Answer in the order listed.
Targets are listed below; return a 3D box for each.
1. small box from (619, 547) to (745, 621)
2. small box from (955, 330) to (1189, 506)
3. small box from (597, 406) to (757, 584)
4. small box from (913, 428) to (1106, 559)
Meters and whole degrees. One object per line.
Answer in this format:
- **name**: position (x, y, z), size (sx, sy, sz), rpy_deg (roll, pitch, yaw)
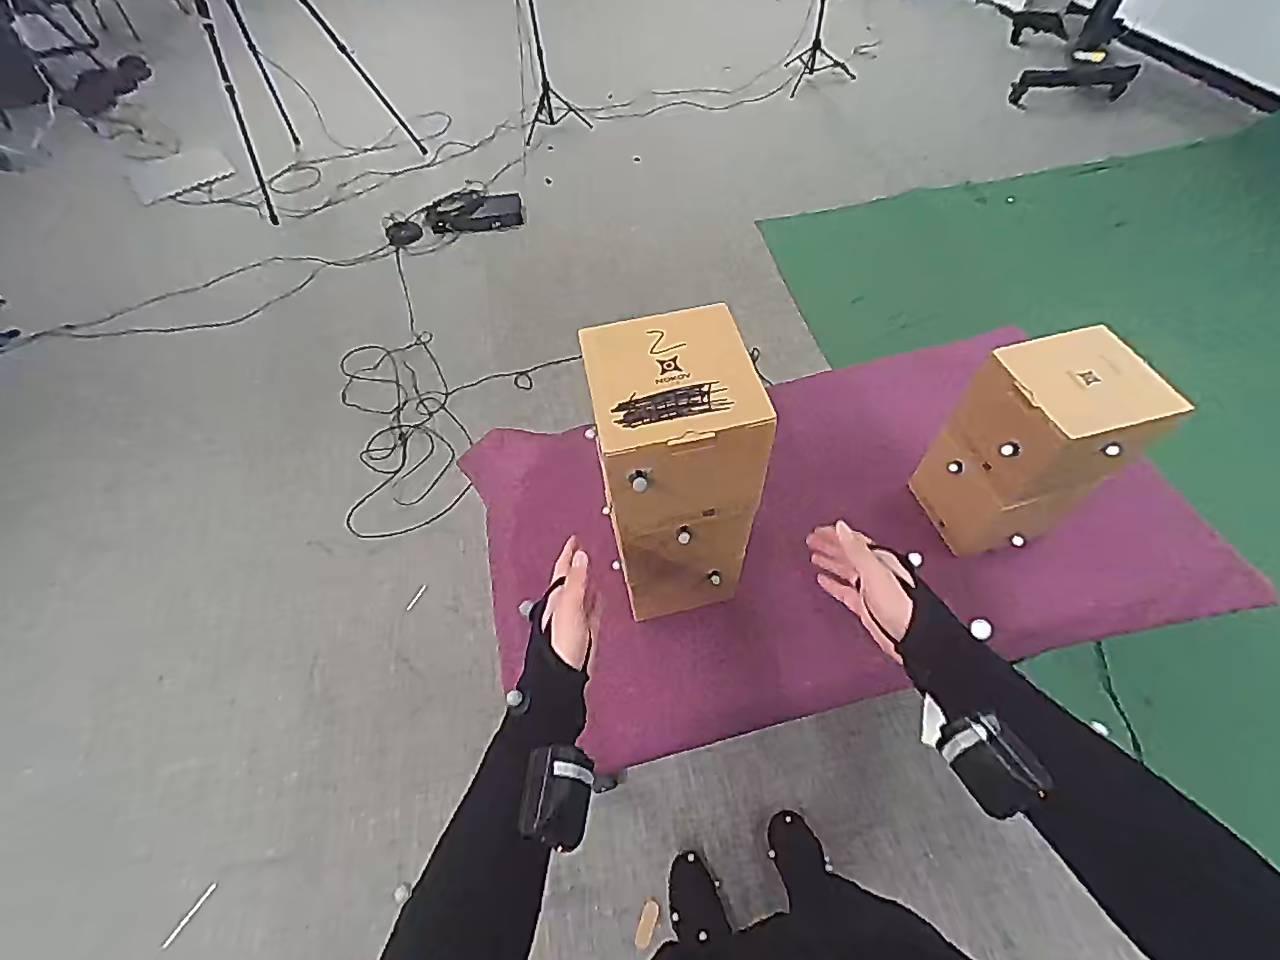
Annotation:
- **small box**: position (0.057, 0.114, 0.890), size (0.179, 0.176, 0.168), rpy_deg (-13, 56, -4)
- **small box**: position (0.590, -0.082, 0.776), size (0.179, 0.176, 0.168), rpy_deg (-13, 57, -3)
- **small box**: position (0.047, 0.026, 0.754), size (0.179, 0.176, 0.168), rpy_deg (-13, 56, -3)
- **small box**: position (0.602, 0.010, 0.910), size (0.179, 0.176, 0.168), rpy_deg (-14, 55, -5)
